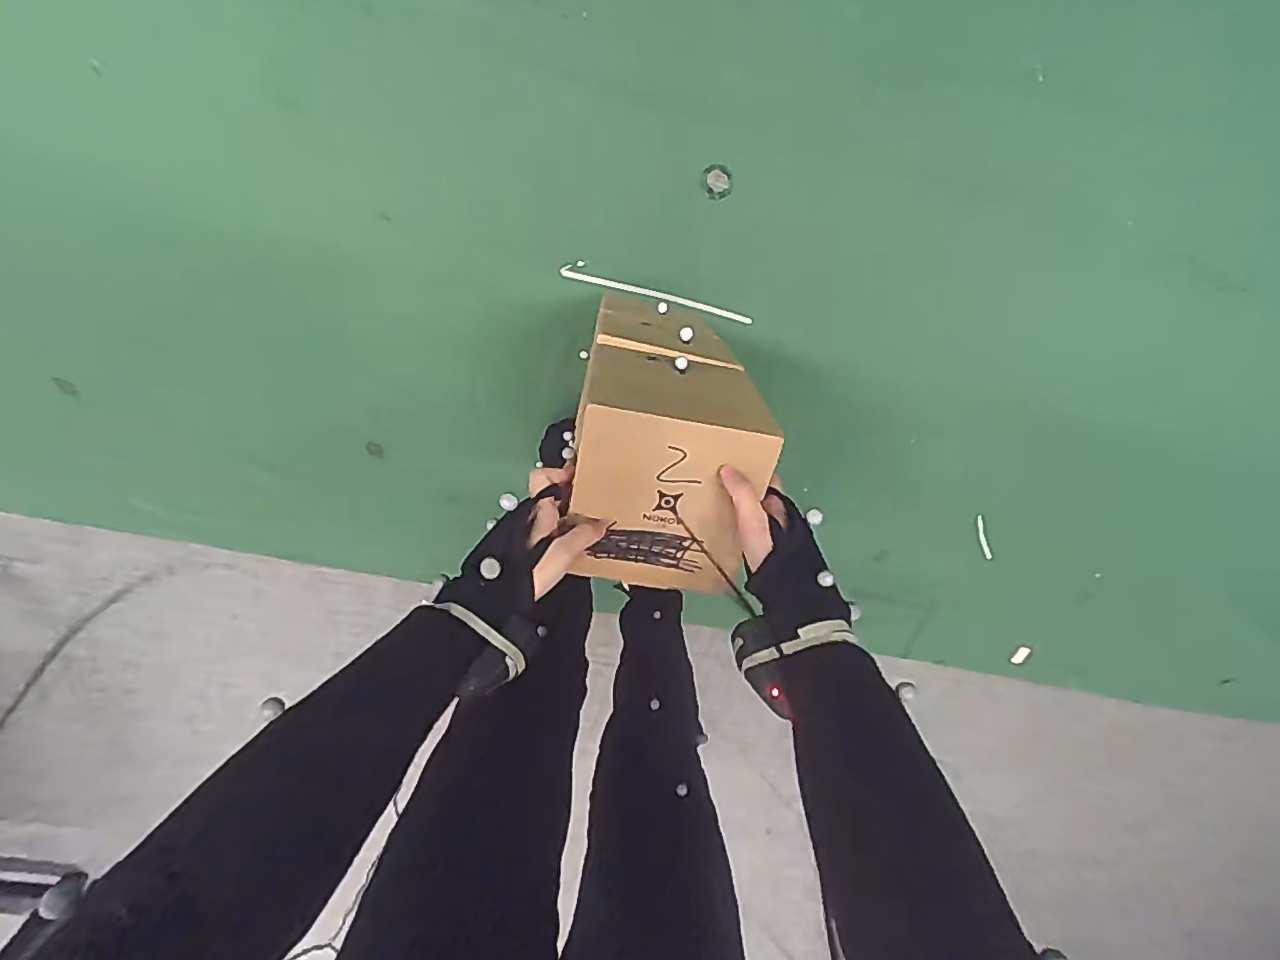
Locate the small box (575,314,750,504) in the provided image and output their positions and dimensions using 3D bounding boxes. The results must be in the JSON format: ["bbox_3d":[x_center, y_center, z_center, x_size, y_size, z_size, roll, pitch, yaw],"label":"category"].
[{"bbox_3d":[0.017,-0.097,0.685,0.168,0.176,0.179,12,115,-9],"label":"small box"}]

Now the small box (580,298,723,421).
[{"bbox_3d":[0.009,-0.167,0.831,0.168,0.176,0.179,14,115,-8],"label":"small box"}]
